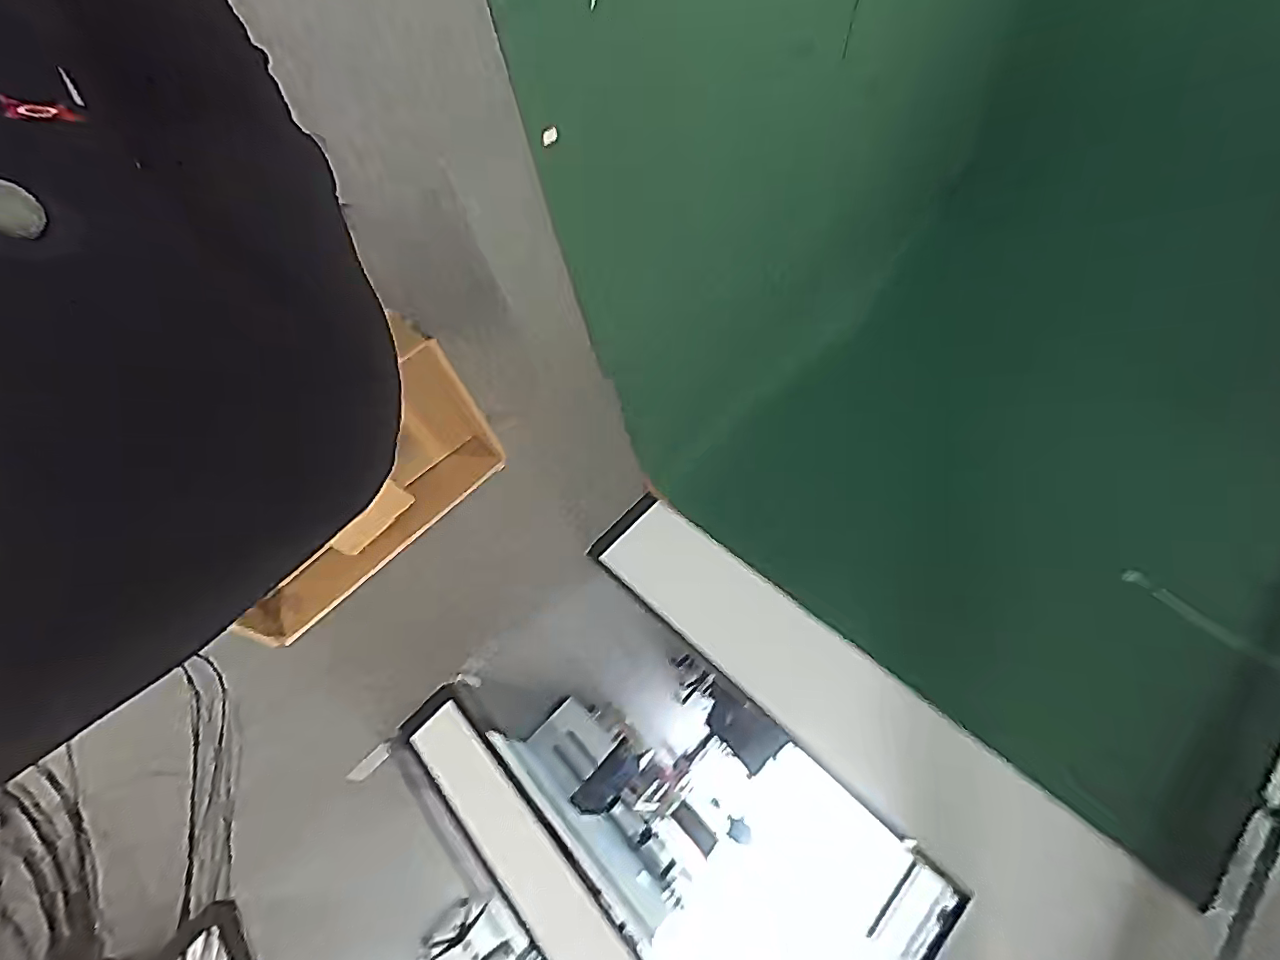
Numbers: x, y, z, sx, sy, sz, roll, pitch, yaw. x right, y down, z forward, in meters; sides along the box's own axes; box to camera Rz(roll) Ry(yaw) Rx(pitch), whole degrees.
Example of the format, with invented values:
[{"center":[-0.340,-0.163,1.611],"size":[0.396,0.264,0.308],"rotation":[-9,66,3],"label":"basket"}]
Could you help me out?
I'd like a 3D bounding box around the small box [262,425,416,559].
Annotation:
[{"center":[-0.593,0.021,1.071],"size":[0.168,0.176,0.179],"rotation":[-46,149,-14],"label":"small box"}]
